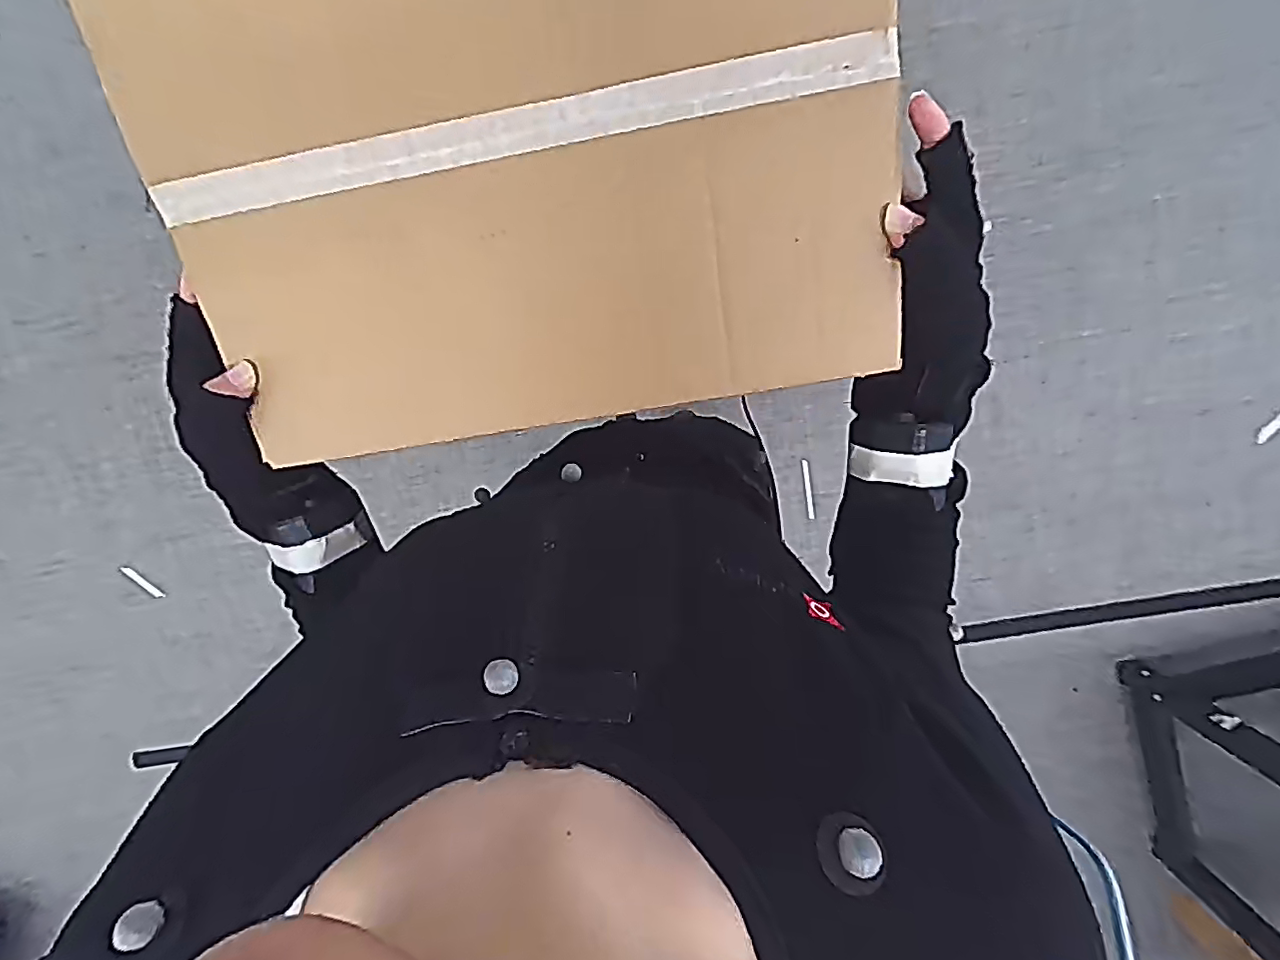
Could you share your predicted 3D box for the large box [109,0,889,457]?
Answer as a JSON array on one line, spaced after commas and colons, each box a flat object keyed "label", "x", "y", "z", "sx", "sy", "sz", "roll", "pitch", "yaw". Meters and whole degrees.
[{"label": "large box", "x": -0.065, "y": -0.236, "z": 0.442, "sx": 0.408, "sy": 0.320, "sz": 0.320, "roll": -9, "pitch": 109, "yaw": 5}]
